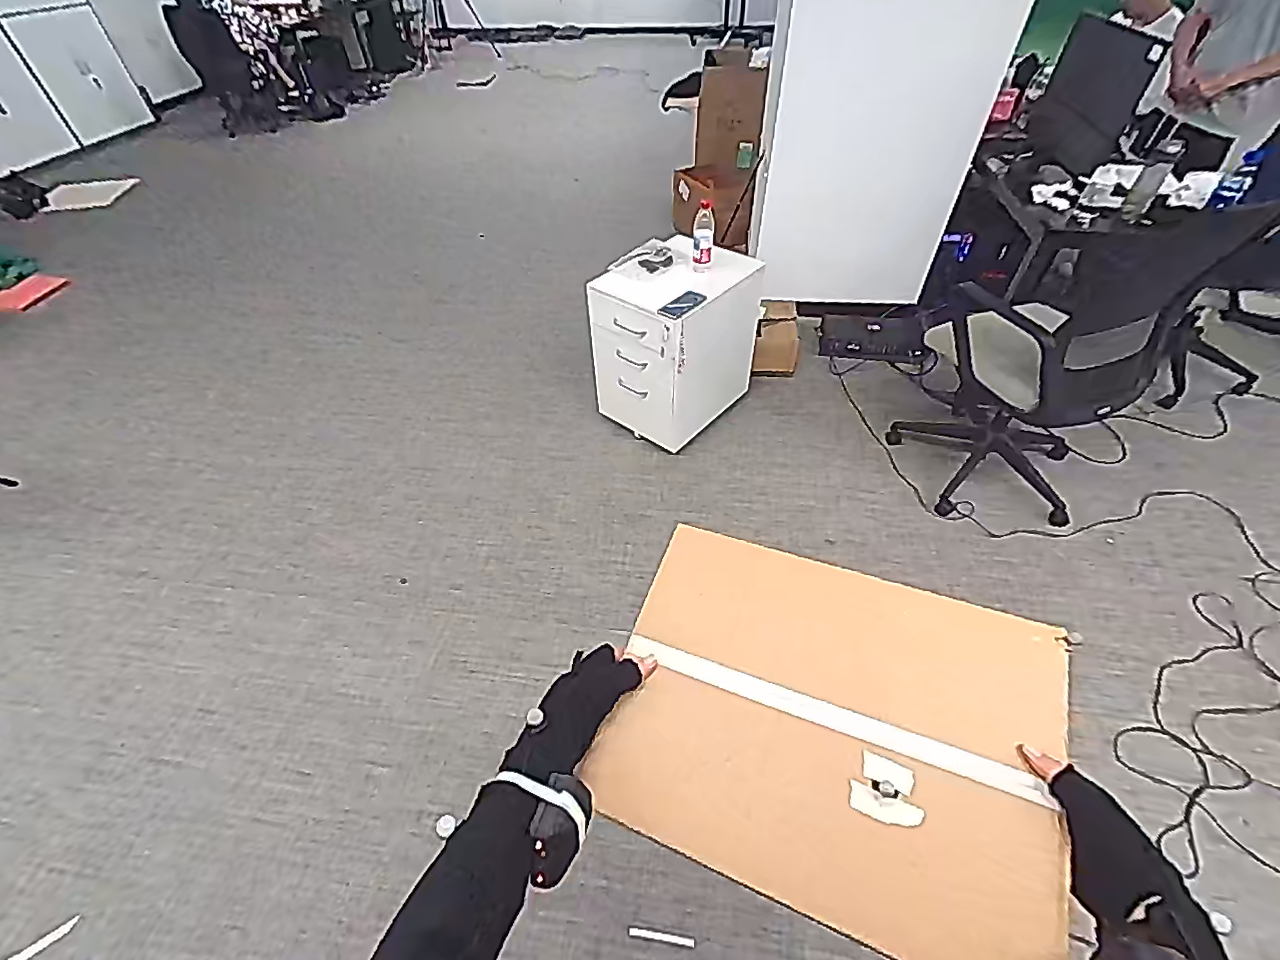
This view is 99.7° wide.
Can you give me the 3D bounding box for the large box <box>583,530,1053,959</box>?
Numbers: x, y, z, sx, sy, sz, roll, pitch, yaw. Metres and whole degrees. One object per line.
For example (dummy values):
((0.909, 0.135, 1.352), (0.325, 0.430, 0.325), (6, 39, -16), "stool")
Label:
((0.198, 0.308, 0.657), (0.408, 0.320, 0.320), (14, 60, 19), "large box")
